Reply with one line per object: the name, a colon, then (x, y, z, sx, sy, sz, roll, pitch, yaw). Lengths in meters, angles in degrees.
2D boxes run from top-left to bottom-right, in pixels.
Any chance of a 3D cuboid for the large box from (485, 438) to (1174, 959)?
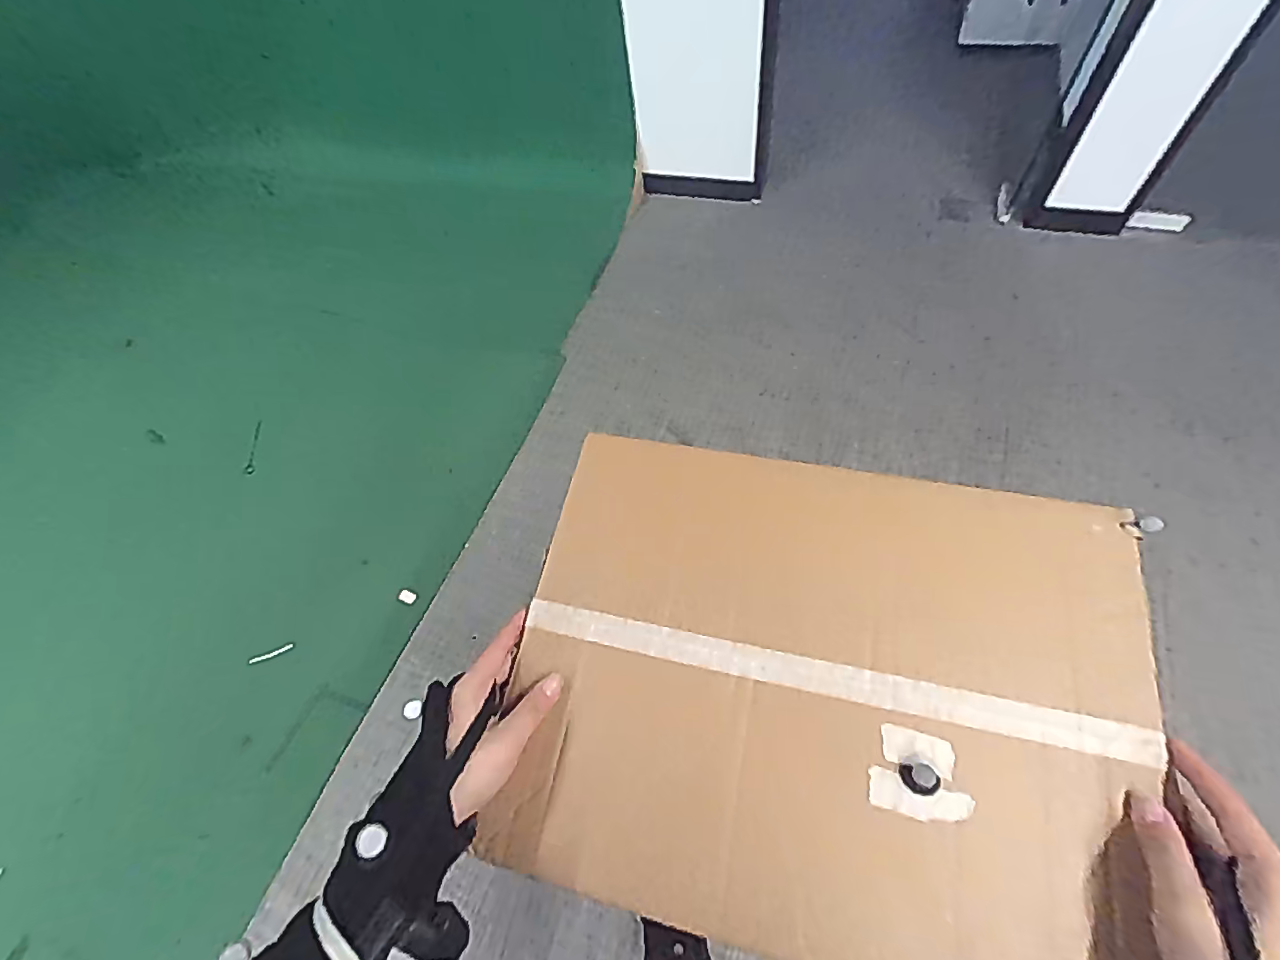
large box: (0.134, 0.188, 0.508, 0.408, 0.320, 0.320, 9, 68, 11)
